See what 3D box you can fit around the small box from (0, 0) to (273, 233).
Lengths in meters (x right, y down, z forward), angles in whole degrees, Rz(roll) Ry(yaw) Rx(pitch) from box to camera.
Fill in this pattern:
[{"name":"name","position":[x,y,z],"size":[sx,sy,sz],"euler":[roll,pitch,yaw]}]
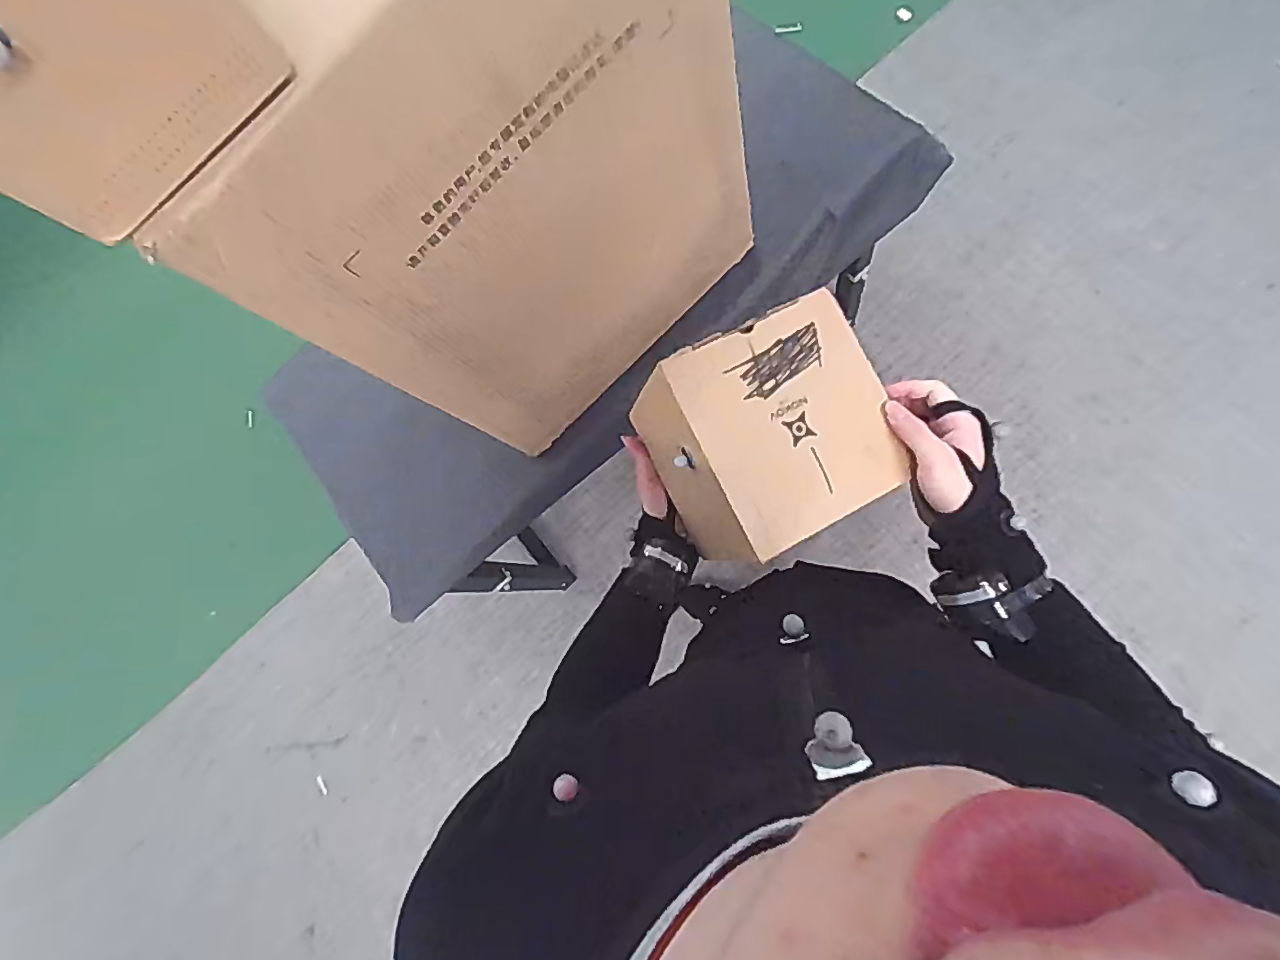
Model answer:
[{"name":"small box","position":[-0.363,-0.284,0.304],"size":[0.179,0.176,0.168],"euler":[-40,75,6]}]
